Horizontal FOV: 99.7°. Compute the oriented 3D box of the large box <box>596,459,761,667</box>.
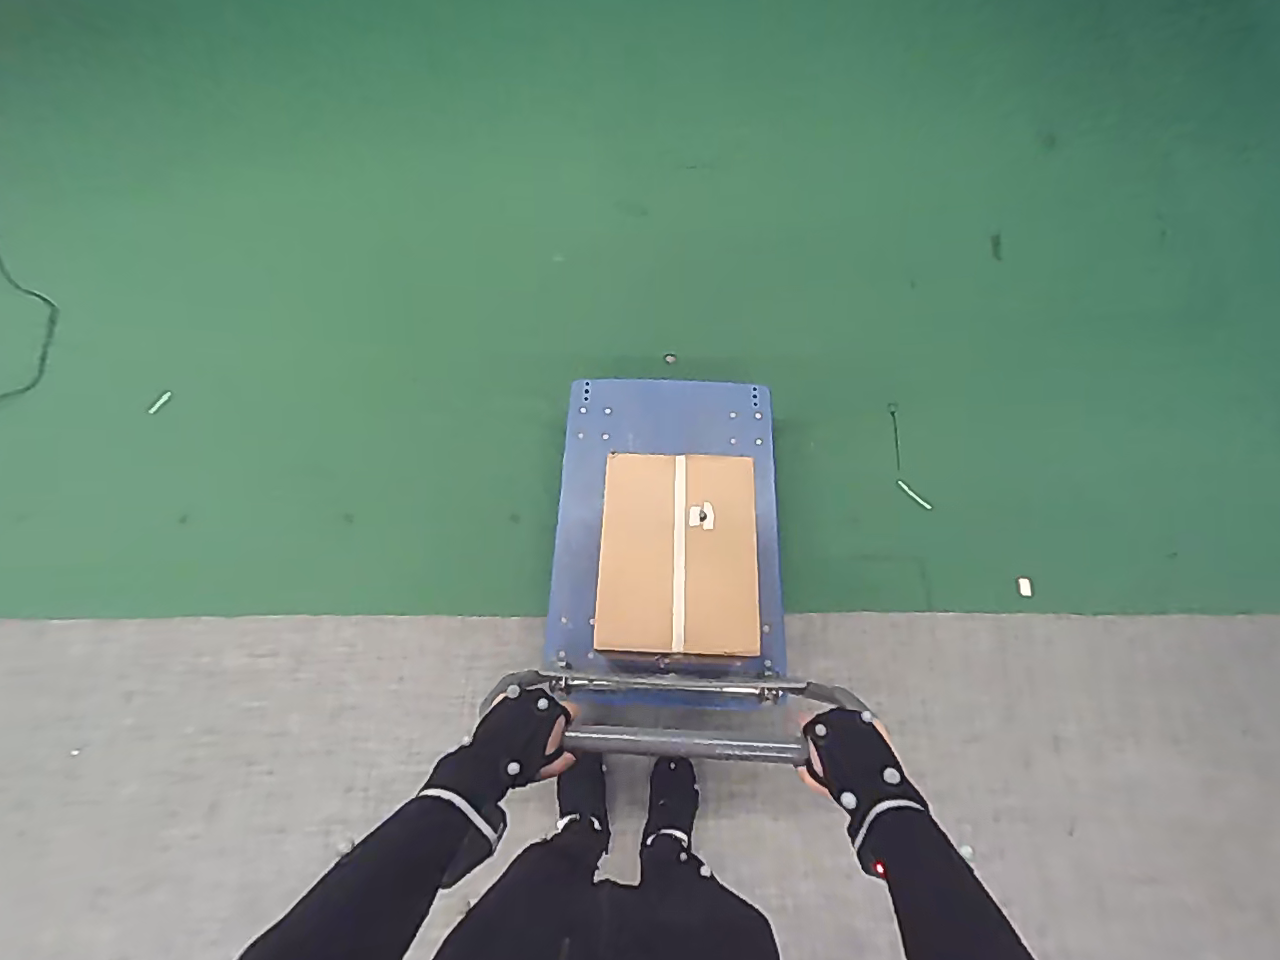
[{"bbox_3d":[0.081,0.200,1.216,0.320,0.320,0.408,2,68,1],"label":"large box"}]
